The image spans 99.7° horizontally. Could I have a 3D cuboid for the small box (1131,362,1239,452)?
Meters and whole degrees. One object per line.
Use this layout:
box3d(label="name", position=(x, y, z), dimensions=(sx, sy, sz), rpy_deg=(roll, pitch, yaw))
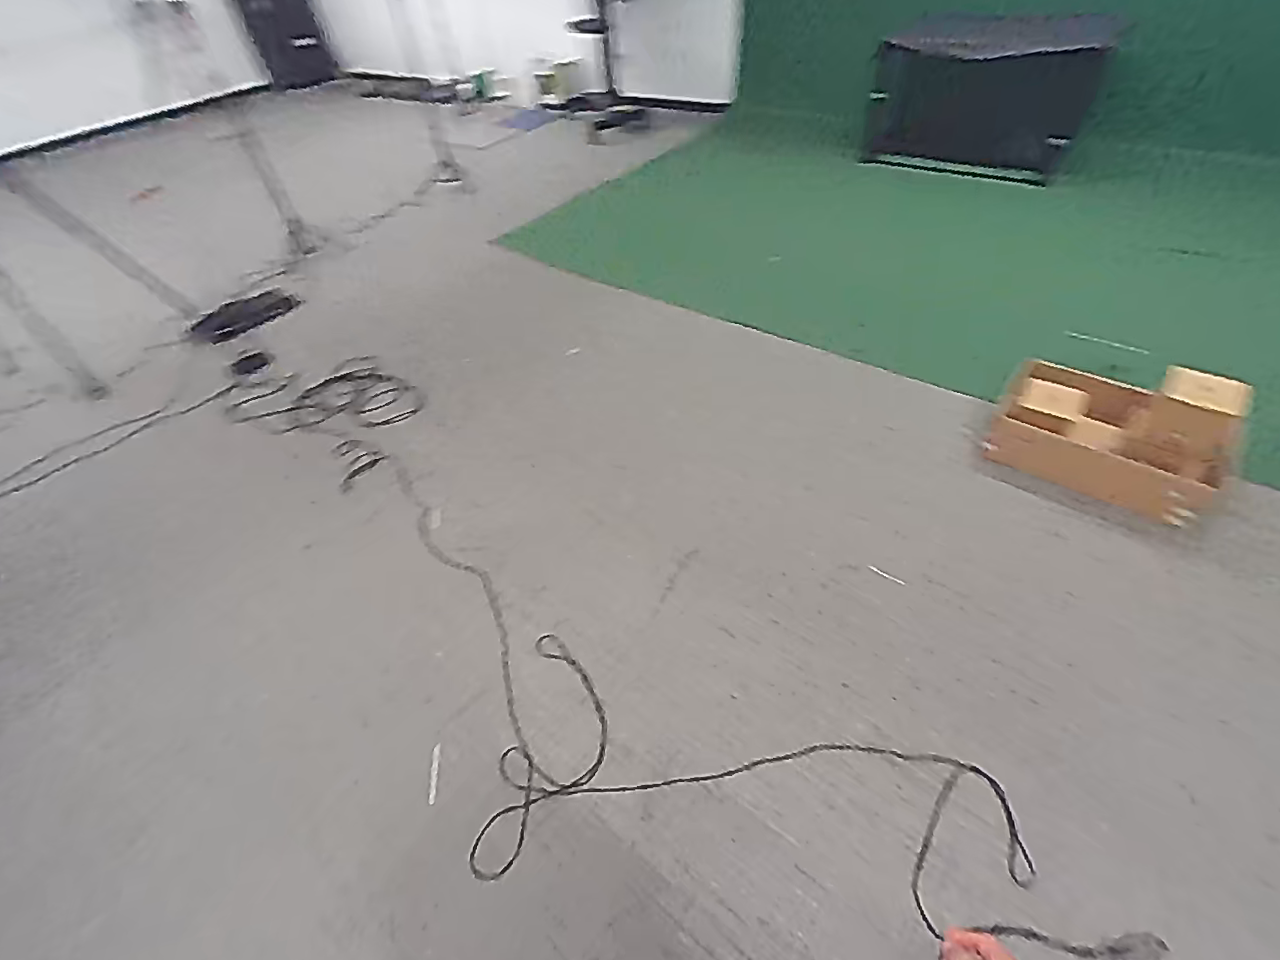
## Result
box3d(label="small box", position=(1.622, -0.218, 1.617), dimensions=(0.168, 0.176, 0.179), rpy_deg=(27, 57, 29))
